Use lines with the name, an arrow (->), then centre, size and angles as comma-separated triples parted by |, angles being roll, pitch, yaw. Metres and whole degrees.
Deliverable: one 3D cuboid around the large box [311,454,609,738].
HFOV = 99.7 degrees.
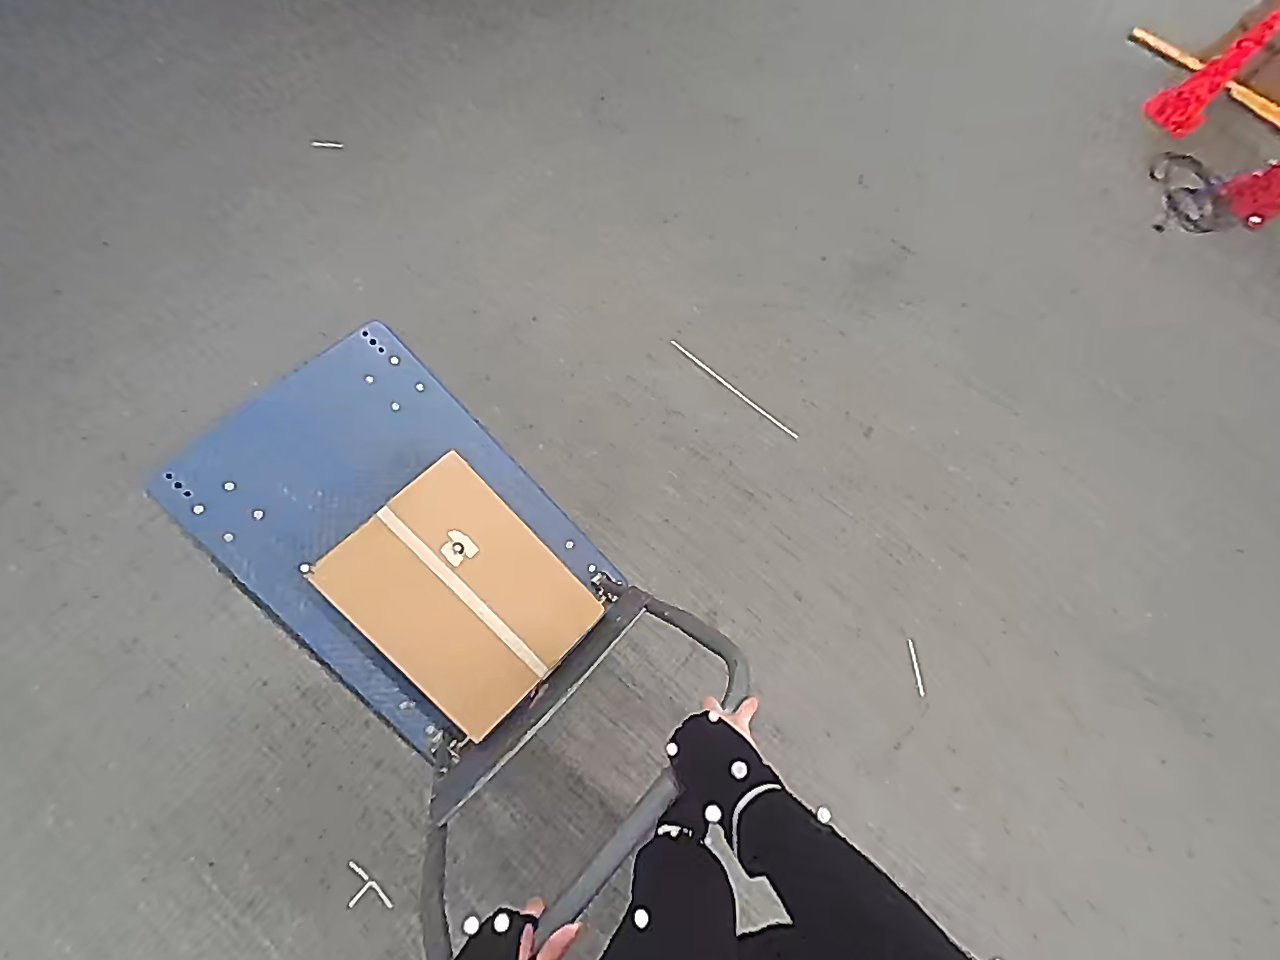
large box -> -0.328, 0.213, 1.072 | 0.408, 0.320, 0.320 | 47, 74, -5
